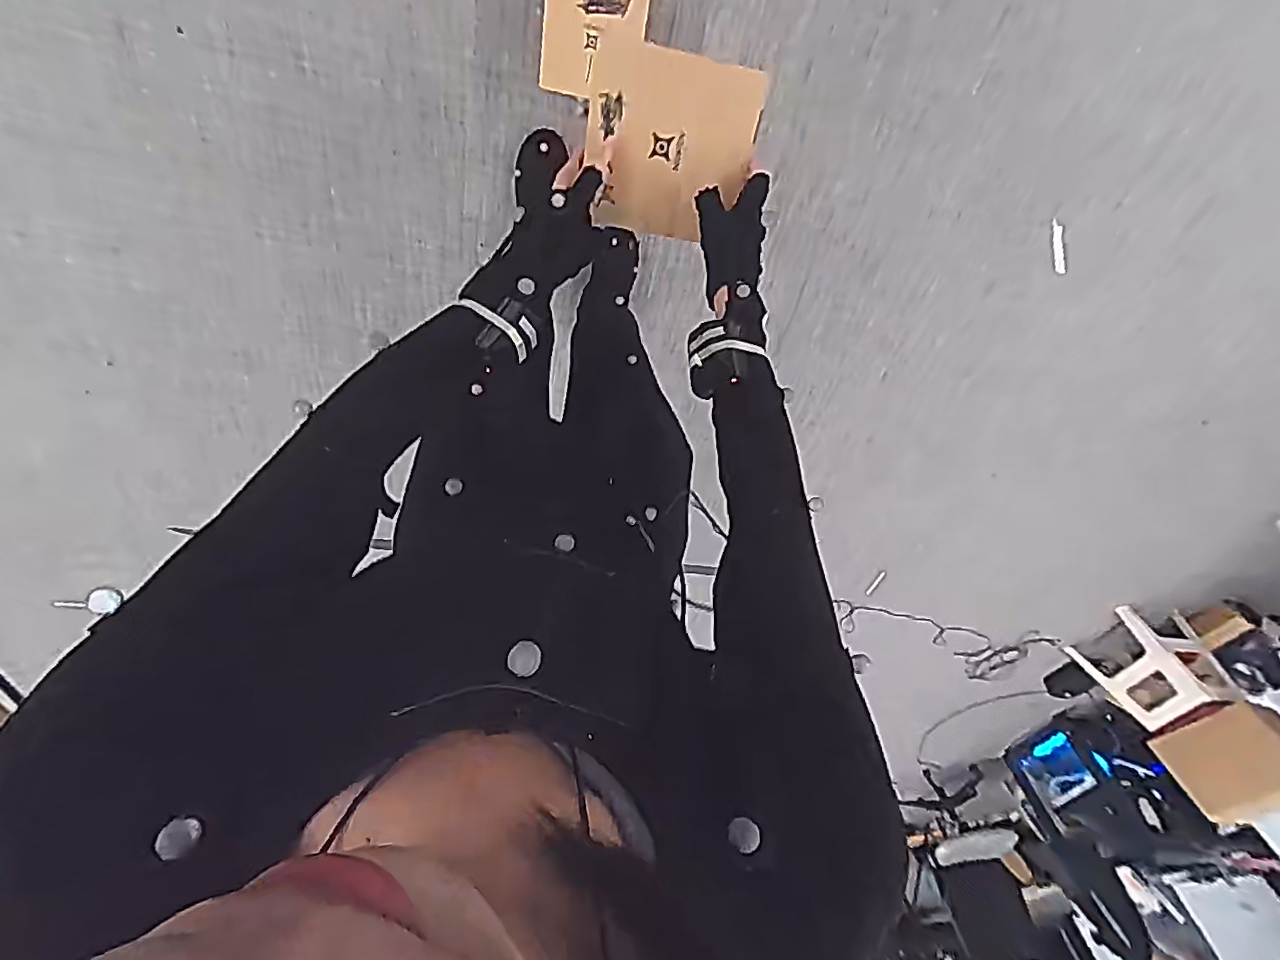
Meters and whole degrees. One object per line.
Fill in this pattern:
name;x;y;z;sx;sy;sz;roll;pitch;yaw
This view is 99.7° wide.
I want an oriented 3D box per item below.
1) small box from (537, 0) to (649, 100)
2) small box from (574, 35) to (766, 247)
small box;-0.087;-0.774;0.940;0.168;0.176;0.179;6;130;-12
small box;0.021;-0.386;0.629;0.179;0.176;0.168;6;122;-8
